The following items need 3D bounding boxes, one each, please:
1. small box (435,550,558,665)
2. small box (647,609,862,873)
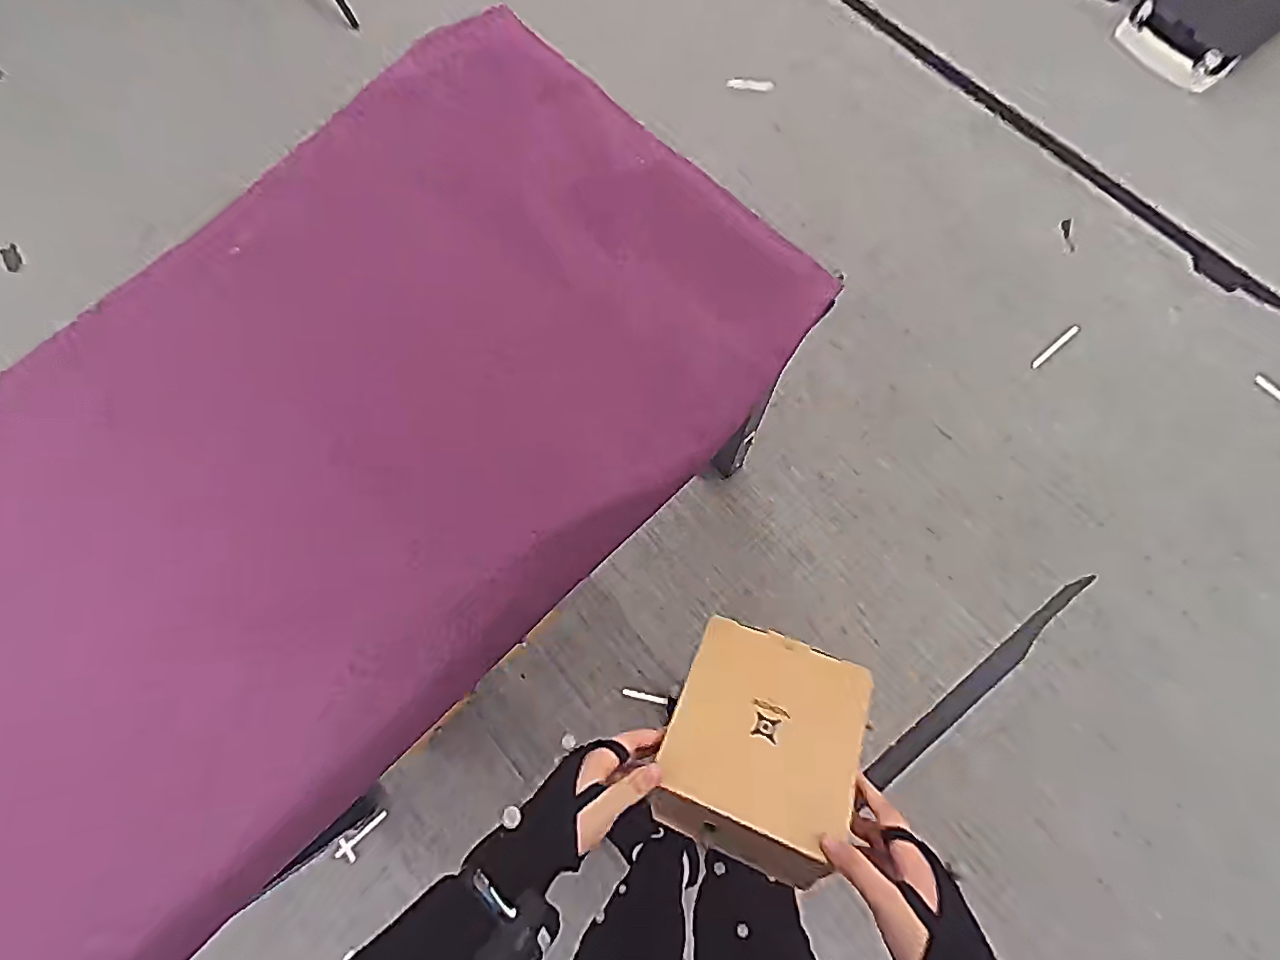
[{"bbox_3d":[-0.304,0.275,1.186,0.168,0.176,0.179,-40,77,-6],"label":"small box"},{"bbox_3d":[0.118,0.273,0.566,0.168,0.176,0.179,15,49,17],"label":"small box"}]
